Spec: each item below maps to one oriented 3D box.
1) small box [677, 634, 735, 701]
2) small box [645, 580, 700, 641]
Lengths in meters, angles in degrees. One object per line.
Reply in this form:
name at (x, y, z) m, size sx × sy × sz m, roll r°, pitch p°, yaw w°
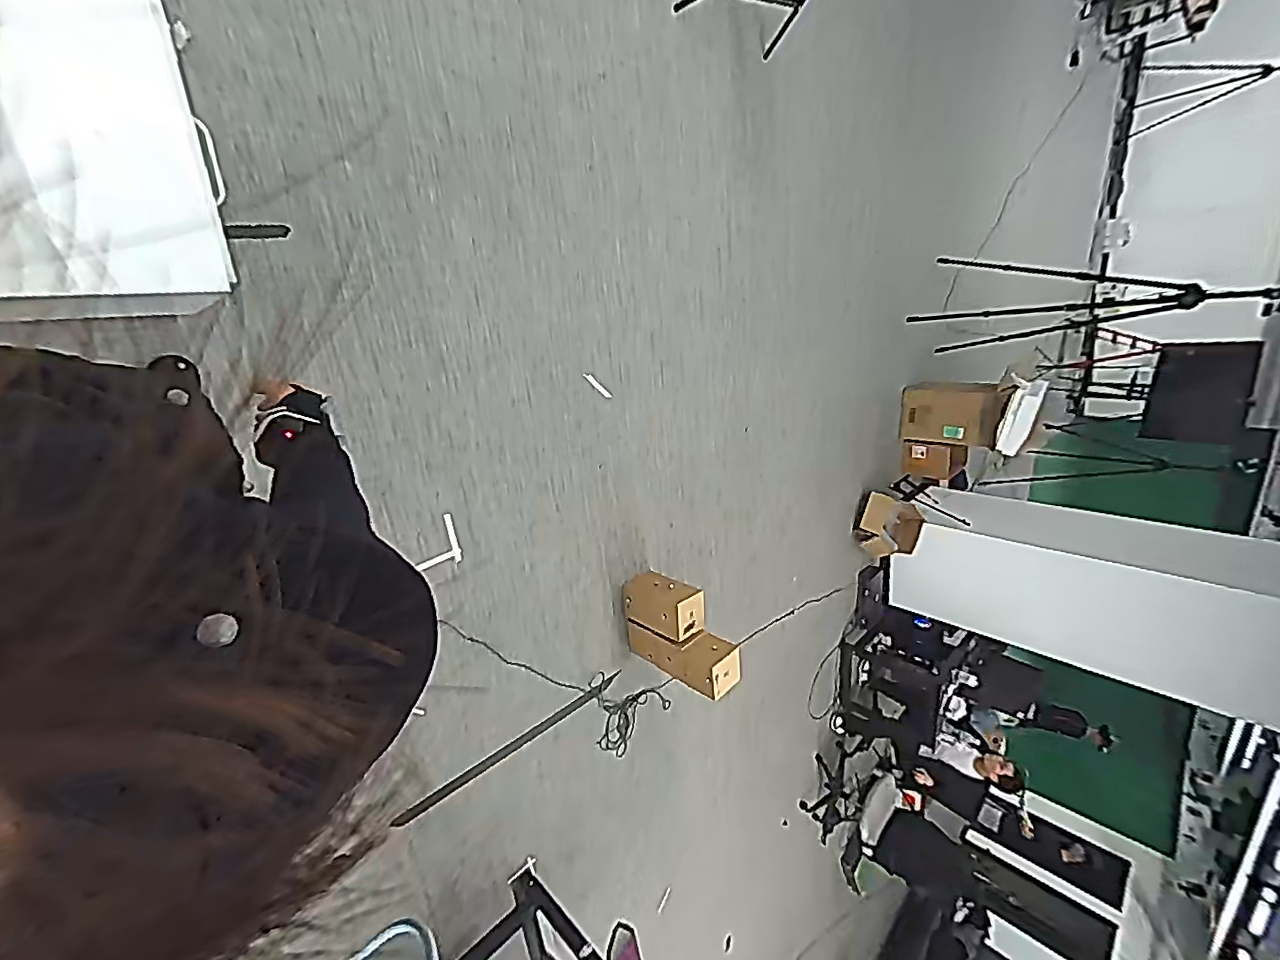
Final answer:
small box at (0.271, 0.765, 2.231) m, size 0.179 × 0.176 × 0.168 m, roll -23°, pitch 115°, yaw -40°
small box at (0.136, 0.545, 2.278) m, size 0.168 × 0.176 × 0.179 m, roll -16°, pitch 109°, yaw -42°
